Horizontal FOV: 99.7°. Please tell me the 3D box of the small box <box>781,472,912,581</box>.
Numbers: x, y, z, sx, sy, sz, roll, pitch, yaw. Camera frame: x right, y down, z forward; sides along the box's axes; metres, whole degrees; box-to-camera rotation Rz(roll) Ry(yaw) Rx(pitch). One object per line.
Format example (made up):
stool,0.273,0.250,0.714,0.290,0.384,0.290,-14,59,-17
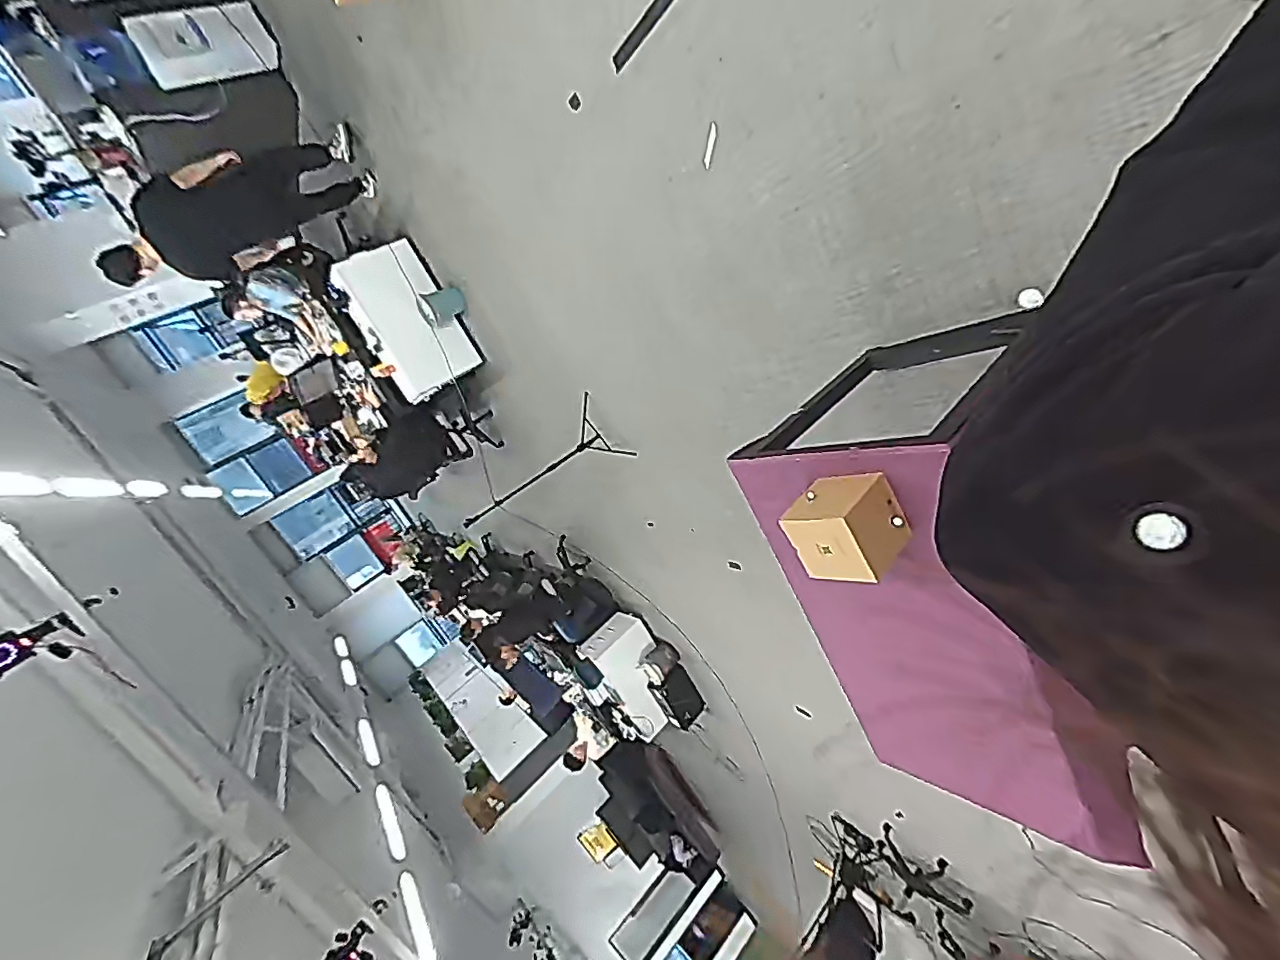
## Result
small box,0.452,0.098,1.183,0.168,0.176,0.179,58,153,-14
